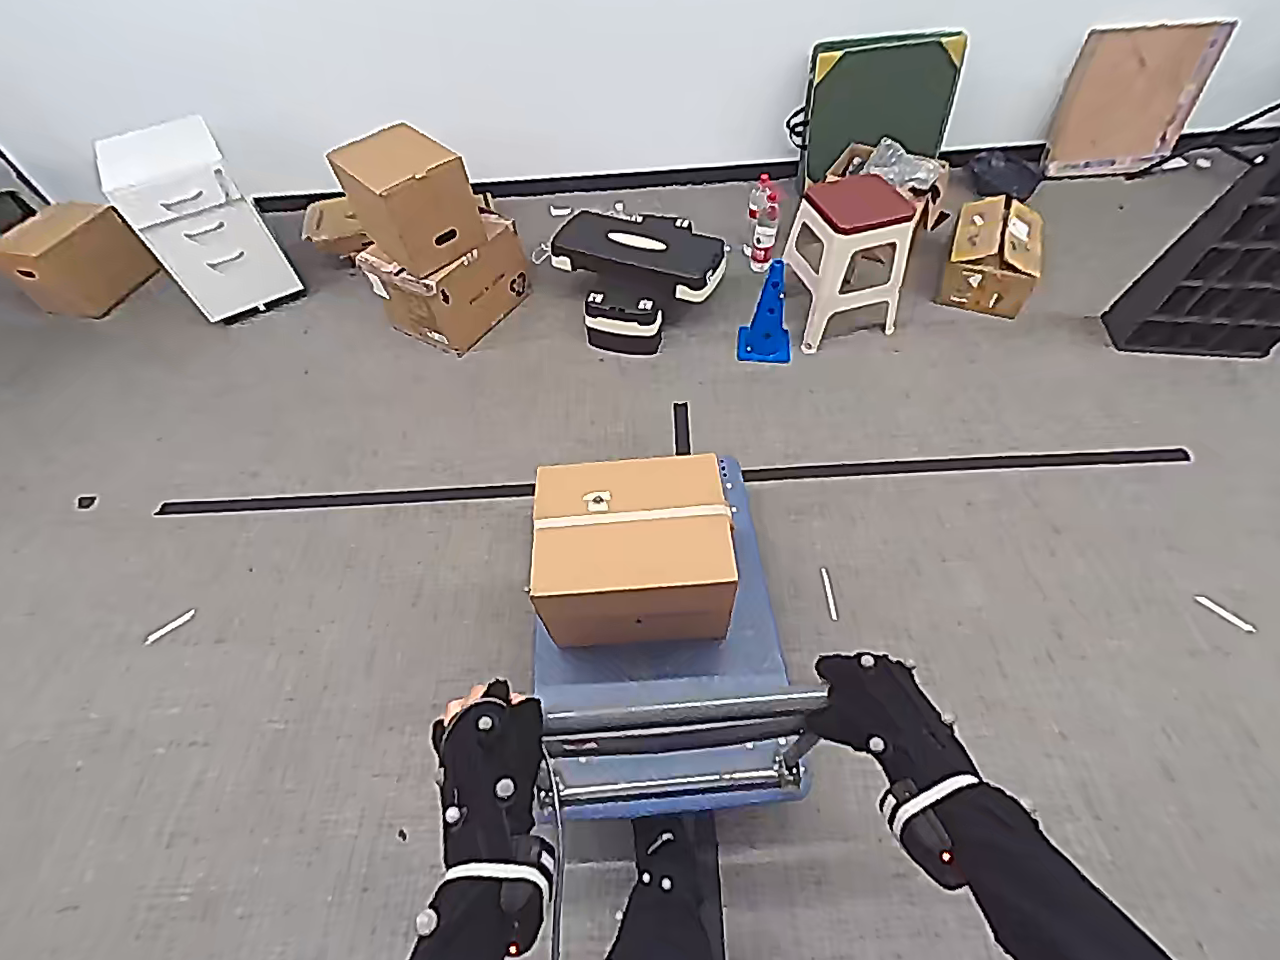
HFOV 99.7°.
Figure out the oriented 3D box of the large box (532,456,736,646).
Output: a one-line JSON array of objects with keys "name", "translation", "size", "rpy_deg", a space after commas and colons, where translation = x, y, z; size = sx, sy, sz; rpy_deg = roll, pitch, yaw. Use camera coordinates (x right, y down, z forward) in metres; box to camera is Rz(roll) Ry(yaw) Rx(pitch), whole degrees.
[{"name": "large box", "translation": [-0.012, 0.174, 1.248], "size": [0.408, 0.320, 0.320], "rpy_deg": [-5, 54, 1]}]
